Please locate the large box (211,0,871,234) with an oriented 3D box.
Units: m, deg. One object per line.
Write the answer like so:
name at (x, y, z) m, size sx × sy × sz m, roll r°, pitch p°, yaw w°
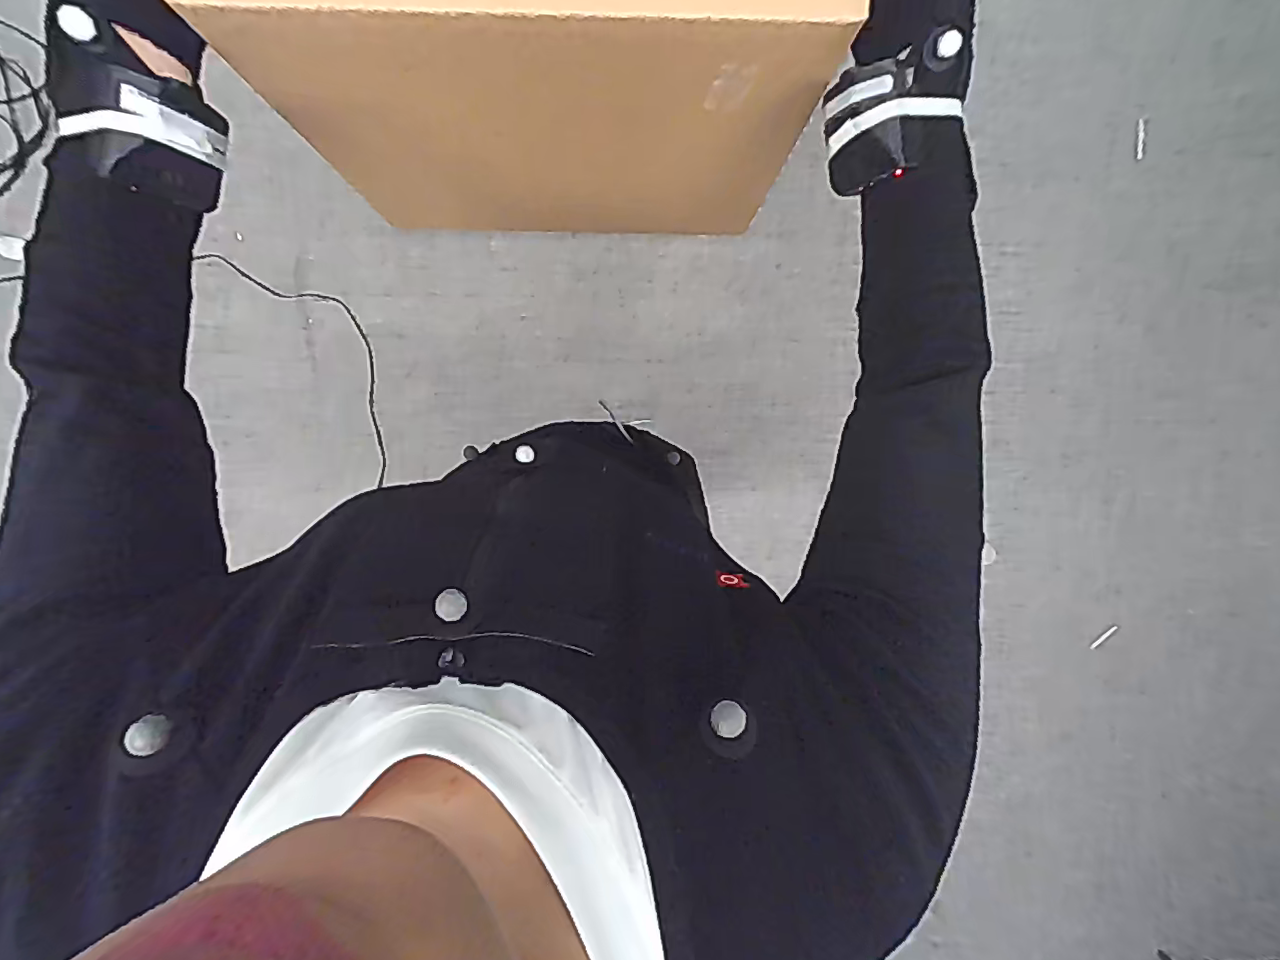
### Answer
large box at (-0.067, -0.430, 0.469) m, size 0.408 × 0.320 × 0.320 m, roll -1°, pitch 93°, yaw -4°
